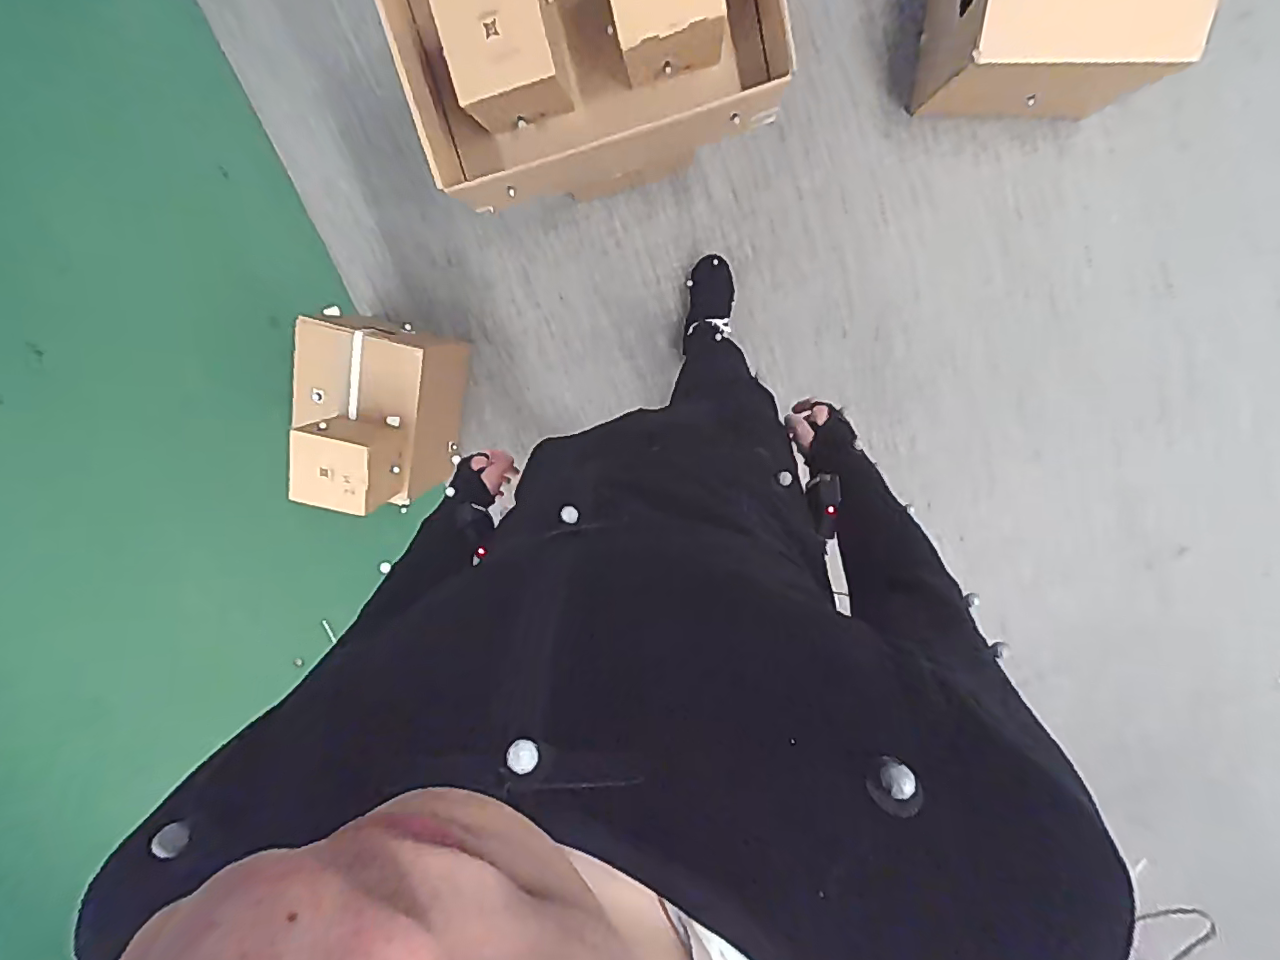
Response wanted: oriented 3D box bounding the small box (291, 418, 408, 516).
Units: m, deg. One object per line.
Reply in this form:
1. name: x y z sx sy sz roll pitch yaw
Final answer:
1. small box: -0.665 -0.038 1.248 0.179 0.176 0.168 13 108 -1

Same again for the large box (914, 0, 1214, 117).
1. large box: 0.844 -0.966 1.102 0.408 0.320 0.320 3 107 5

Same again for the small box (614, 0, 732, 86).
1. small box: 0.042 -0.775 0.857 0.168 0.176 0.179 -13 107 8
